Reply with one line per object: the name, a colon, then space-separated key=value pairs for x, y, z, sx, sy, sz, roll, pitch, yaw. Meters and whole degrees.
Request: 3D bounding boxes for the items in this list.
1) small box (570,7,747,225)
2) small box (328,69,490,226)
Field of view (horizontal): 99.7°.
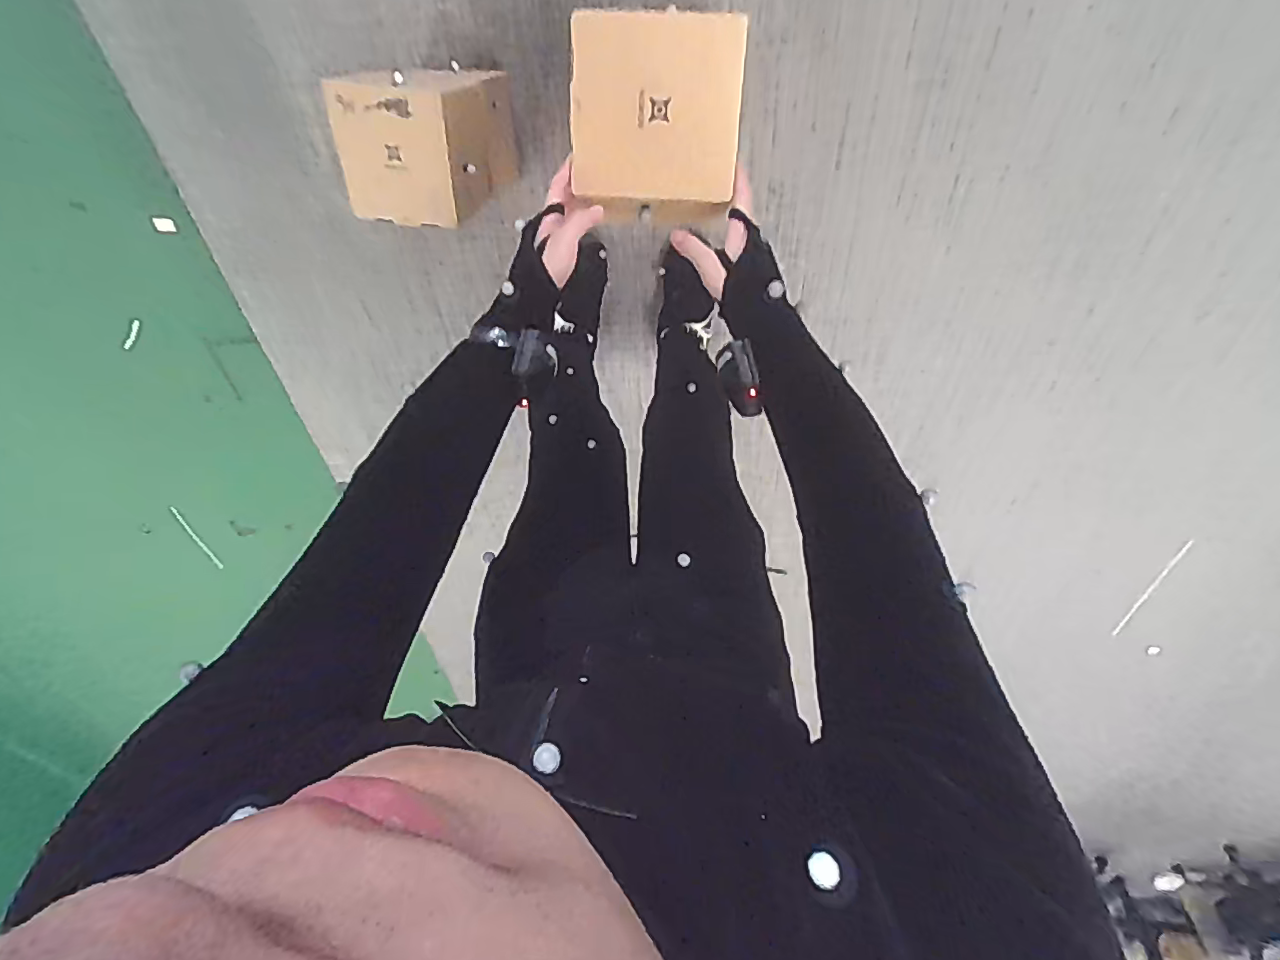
small box: x=0.020 y=-0.403 z=0.628 sx=0.179 sy=0.176 sz=0.168 roll=3 pitch=104 yaw=3
small box: x=-0.342 y=-0.520 z=0.845 sx=0.168 sy=0.176 sz=0.179 roll=6 pitch=130 yaw=1
